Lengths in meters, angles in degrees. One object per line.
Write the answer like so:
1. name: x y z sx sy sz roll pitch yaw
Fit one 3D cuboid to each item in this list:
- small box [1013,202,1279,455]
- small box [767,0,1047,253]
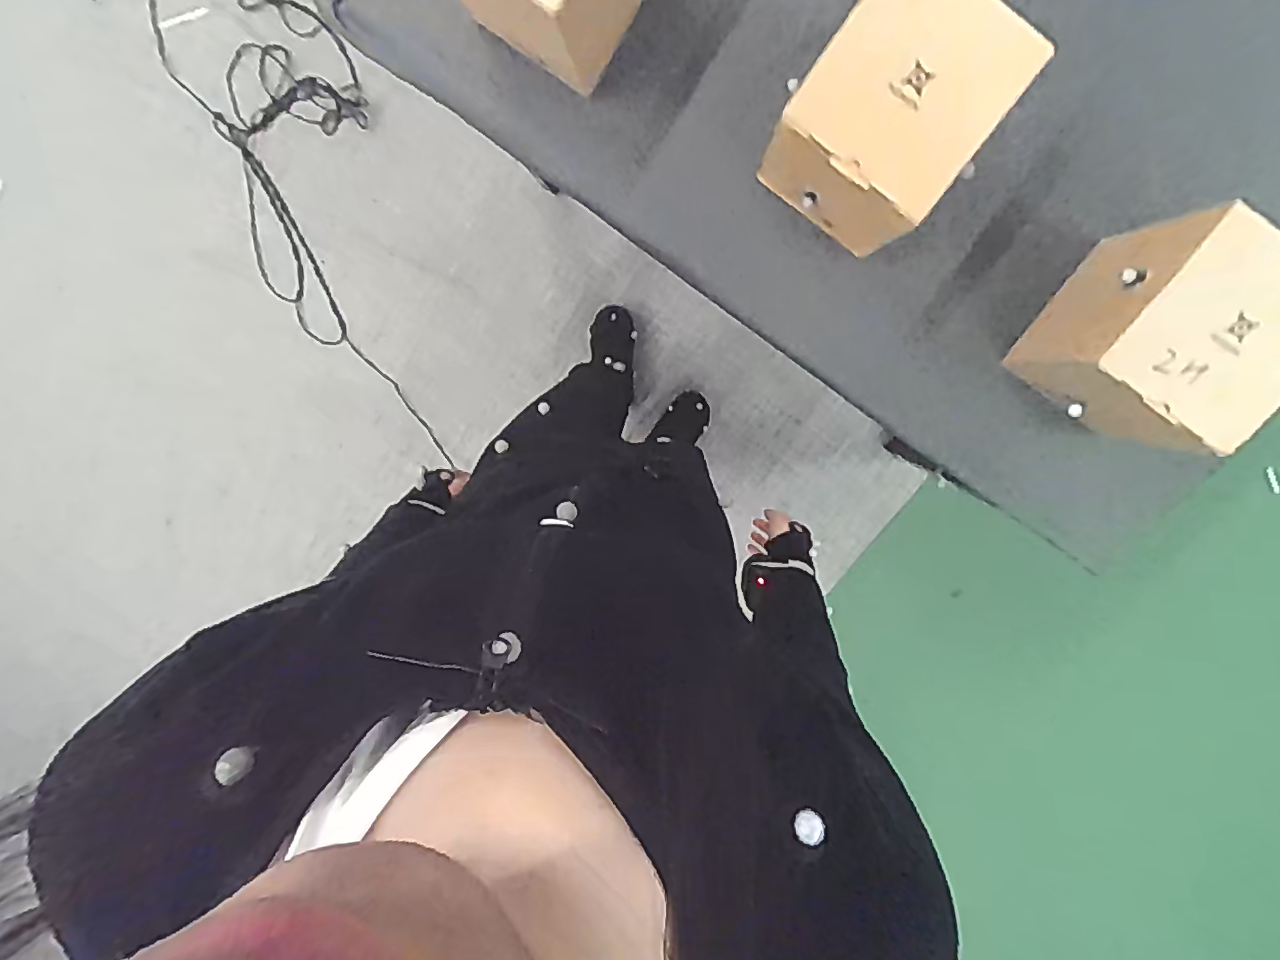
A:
1. small box: 0.562 -0.154 0.584 0.168 0.176 0.179 34 104 -2
2. small box: 0.253 -0.371 0.568 0.168 0.176 0.179 35 104 -4
